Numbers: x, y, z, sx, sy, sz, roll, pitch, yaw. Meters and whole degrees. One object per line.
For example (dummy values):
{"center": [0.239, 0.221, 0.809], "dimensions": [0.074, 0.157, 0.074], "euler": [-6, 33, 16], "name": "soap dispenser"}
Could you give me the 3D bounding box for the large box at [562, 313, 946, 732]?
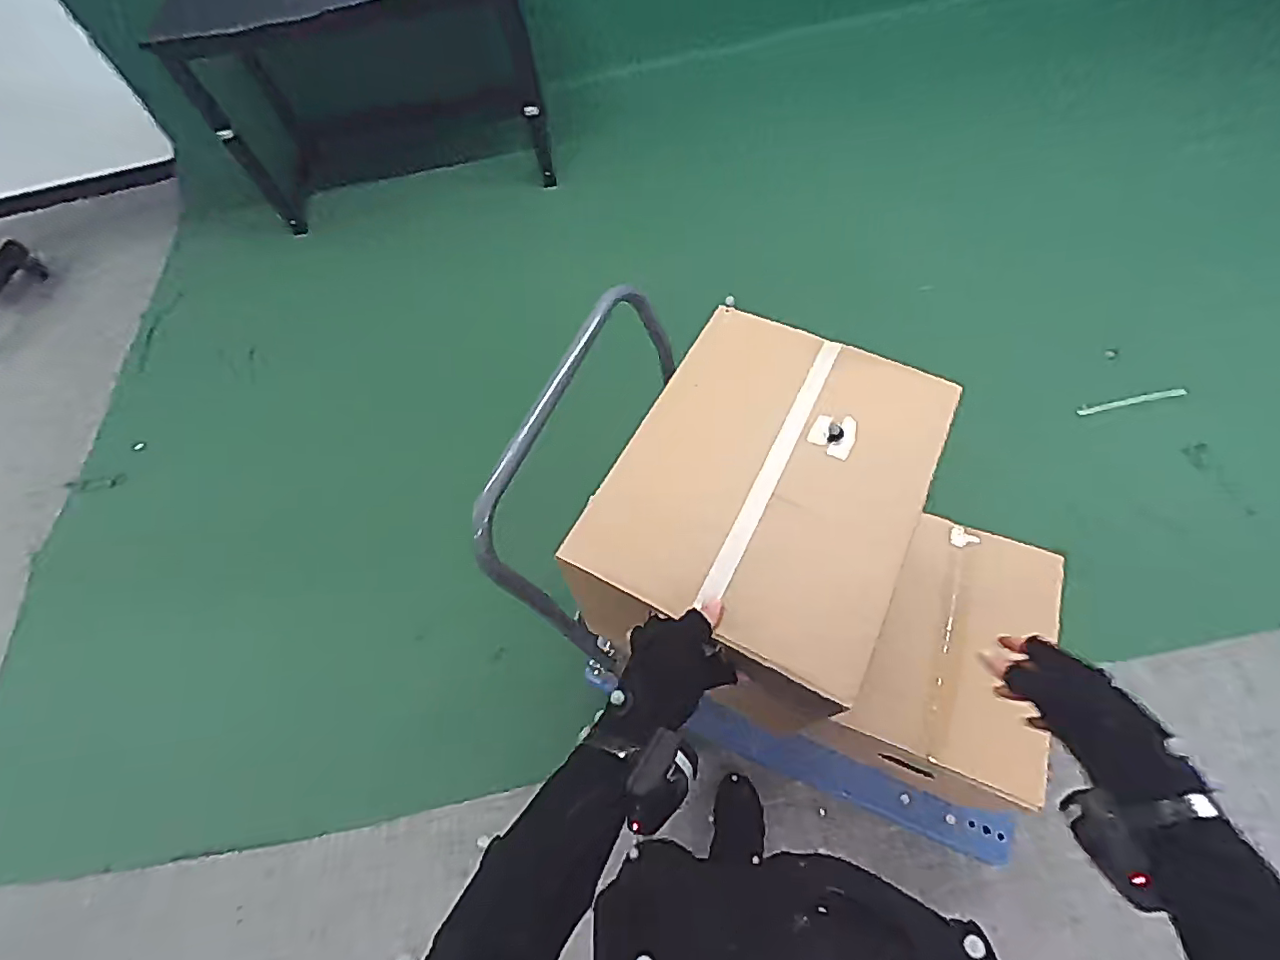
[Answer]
{"center": [0.148, 0.061, 0.730], "dimensions": [0.320, 0.320, 0.408], "euler": [25, 64, 15], "name": "large box"}
